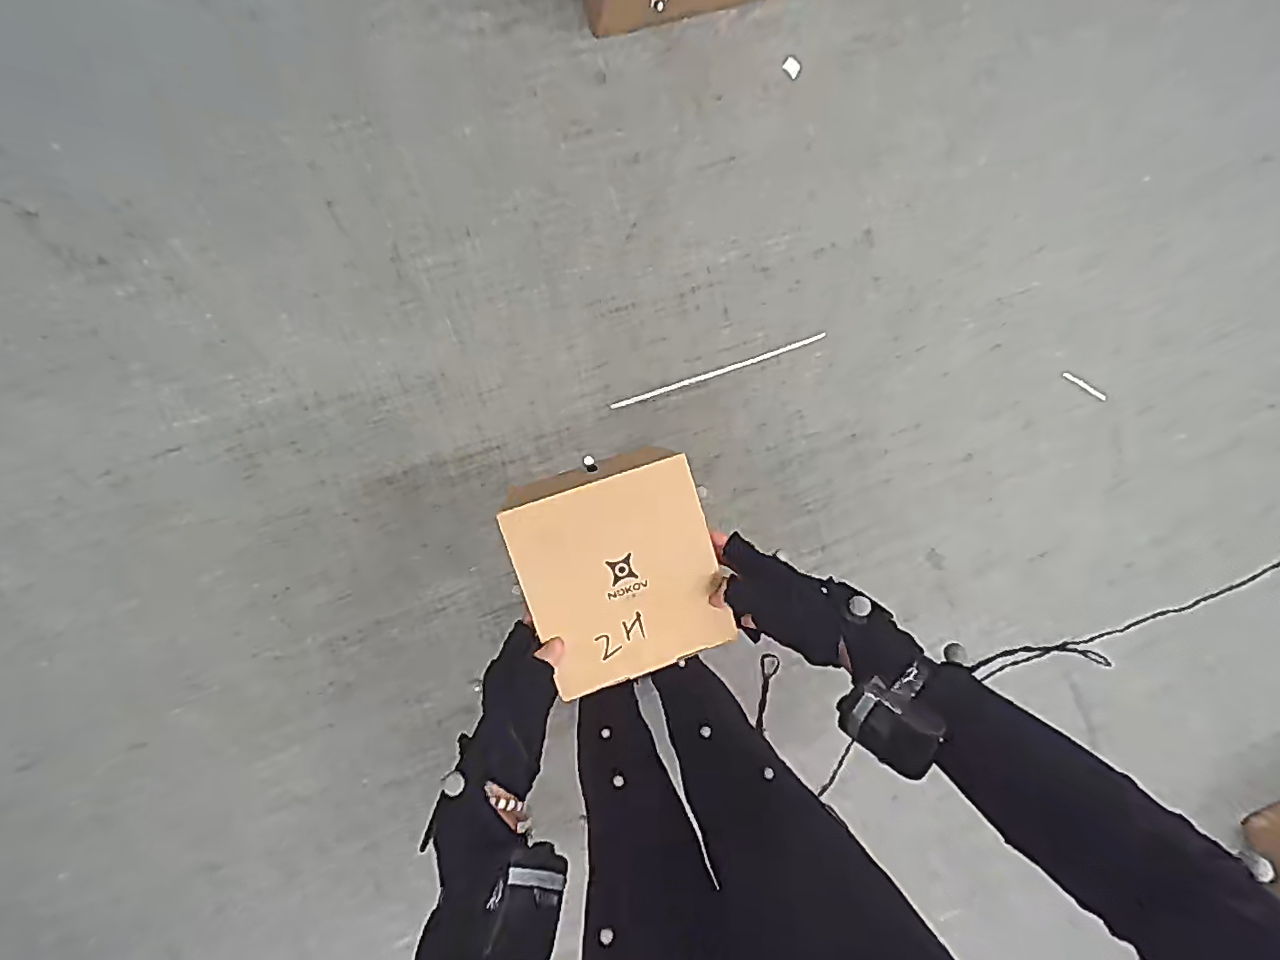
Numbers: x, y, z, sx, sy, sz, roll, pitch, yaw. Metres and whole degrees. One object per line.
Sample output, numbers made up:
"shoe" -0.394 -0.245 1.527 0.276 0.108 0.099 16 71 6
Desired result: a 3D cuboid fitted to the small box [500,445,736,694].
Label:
"small box" -0.027 0.070 0.535 0.168 0.176 0.179 -18 99 -6
